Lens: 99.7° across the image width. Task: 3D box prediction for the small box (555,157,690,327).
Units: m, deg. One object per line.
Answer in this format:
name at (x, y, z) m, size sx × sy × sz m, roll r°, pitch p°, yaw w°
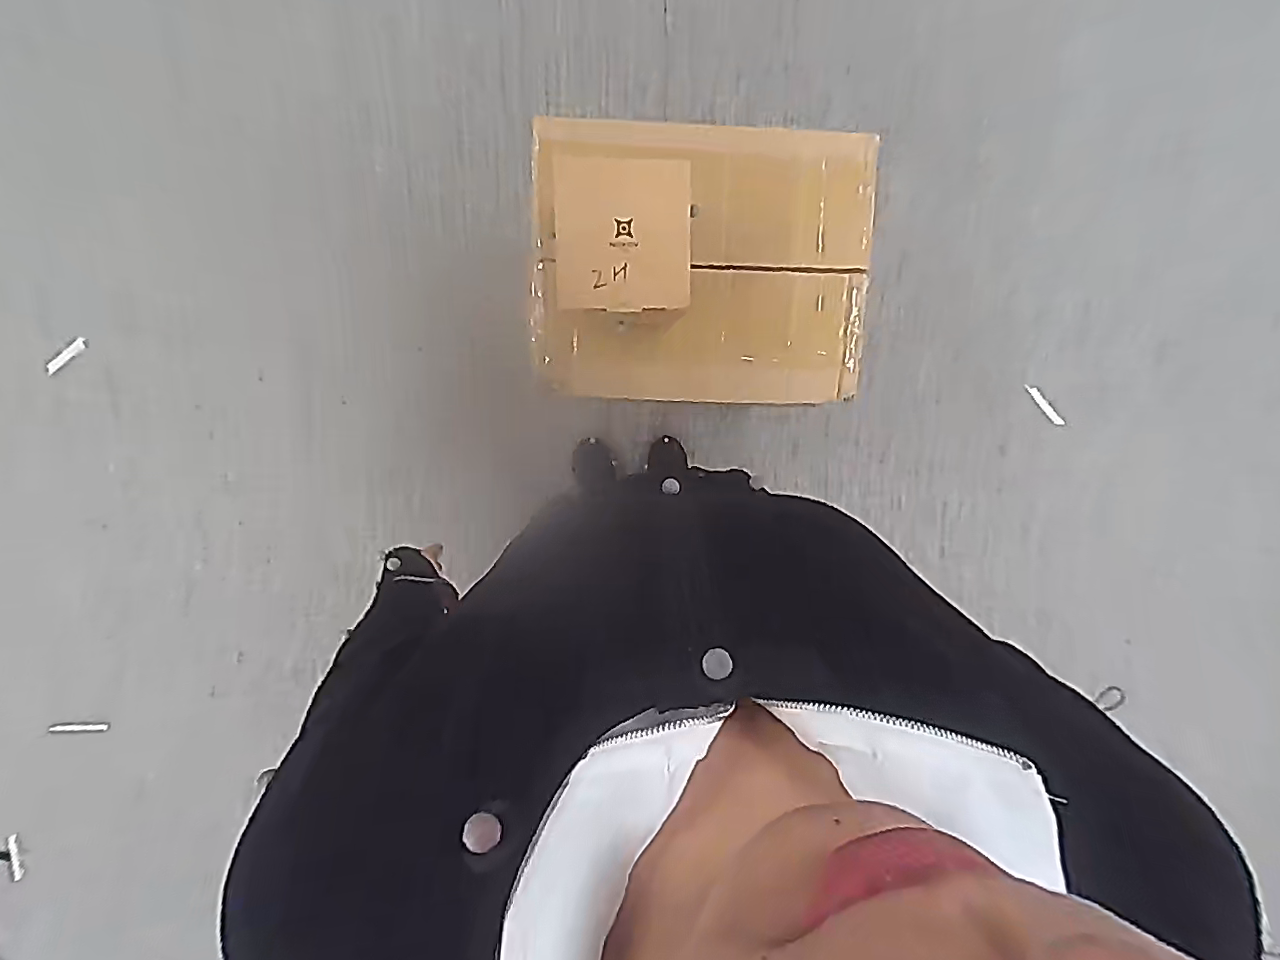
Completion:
small box at (-0.027, -0.310, 0.736) m, size 0.168 × 0.176 × 0.179 m, roll -1°, pitch 99°, yaw -3°
